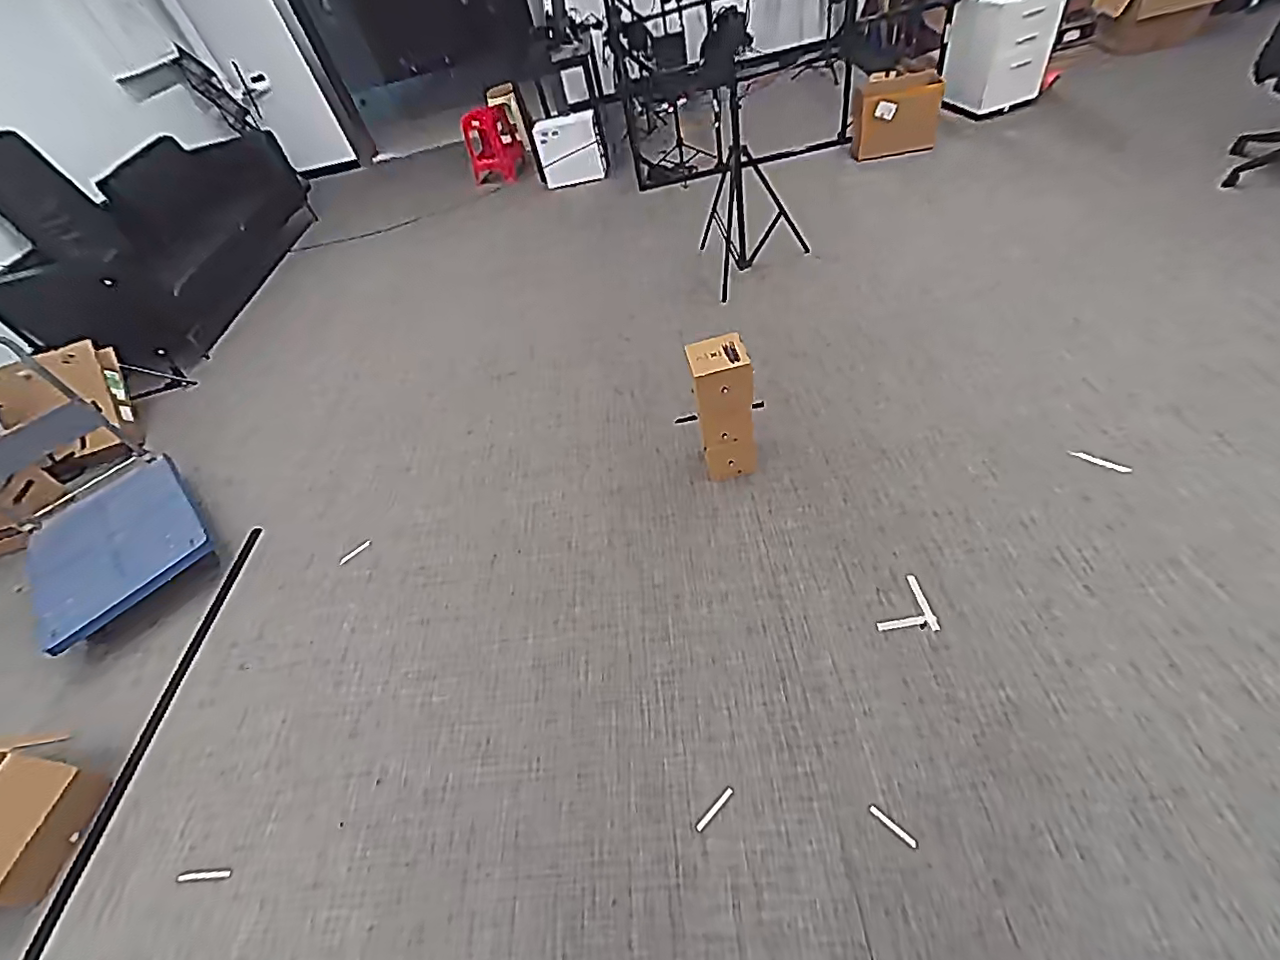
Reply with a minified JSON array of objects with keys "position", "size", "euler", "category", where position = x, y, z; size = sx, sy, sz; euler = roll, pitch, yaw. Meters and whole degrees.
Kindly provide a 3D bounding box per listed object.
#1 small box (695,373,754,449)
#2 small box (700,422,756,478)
[{"position":[0.287,-0.231,1.835],"size":[0.168,0.176,0.179],"euler":[-12,48,5],"category":"small box"},{"position":[0.319,-0.125,1.954],"size":[0.168,0.176,0.179],"euler":[-12,47,4],"category":"small box"}]
